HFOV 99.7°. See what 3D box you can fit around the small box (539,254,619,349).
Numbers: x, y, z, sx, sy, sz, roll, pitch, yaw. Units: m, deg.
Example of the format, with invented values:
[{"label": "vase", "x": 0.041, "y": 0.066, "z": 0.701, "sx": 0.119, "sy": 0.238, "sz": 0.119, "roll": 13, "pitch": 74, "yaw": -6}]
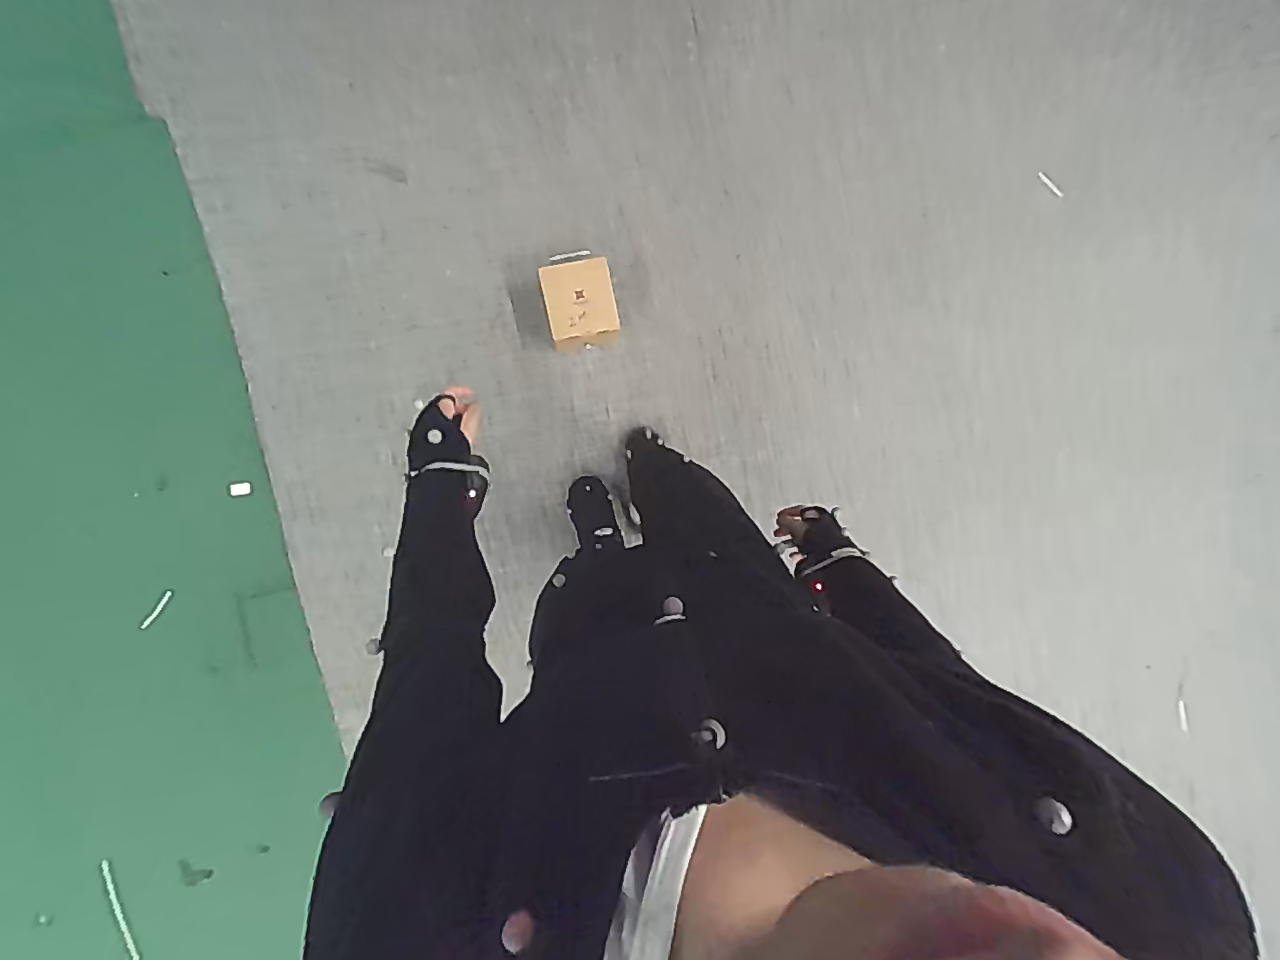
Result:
[{"label": "small box", "x": -0.154, "y": -0.441, "z": 1.357, "sx": 0.168, "sy": 0.176, "sz": 0.179, "roll": -12, "pitch": 97, "yaw": -5}]
